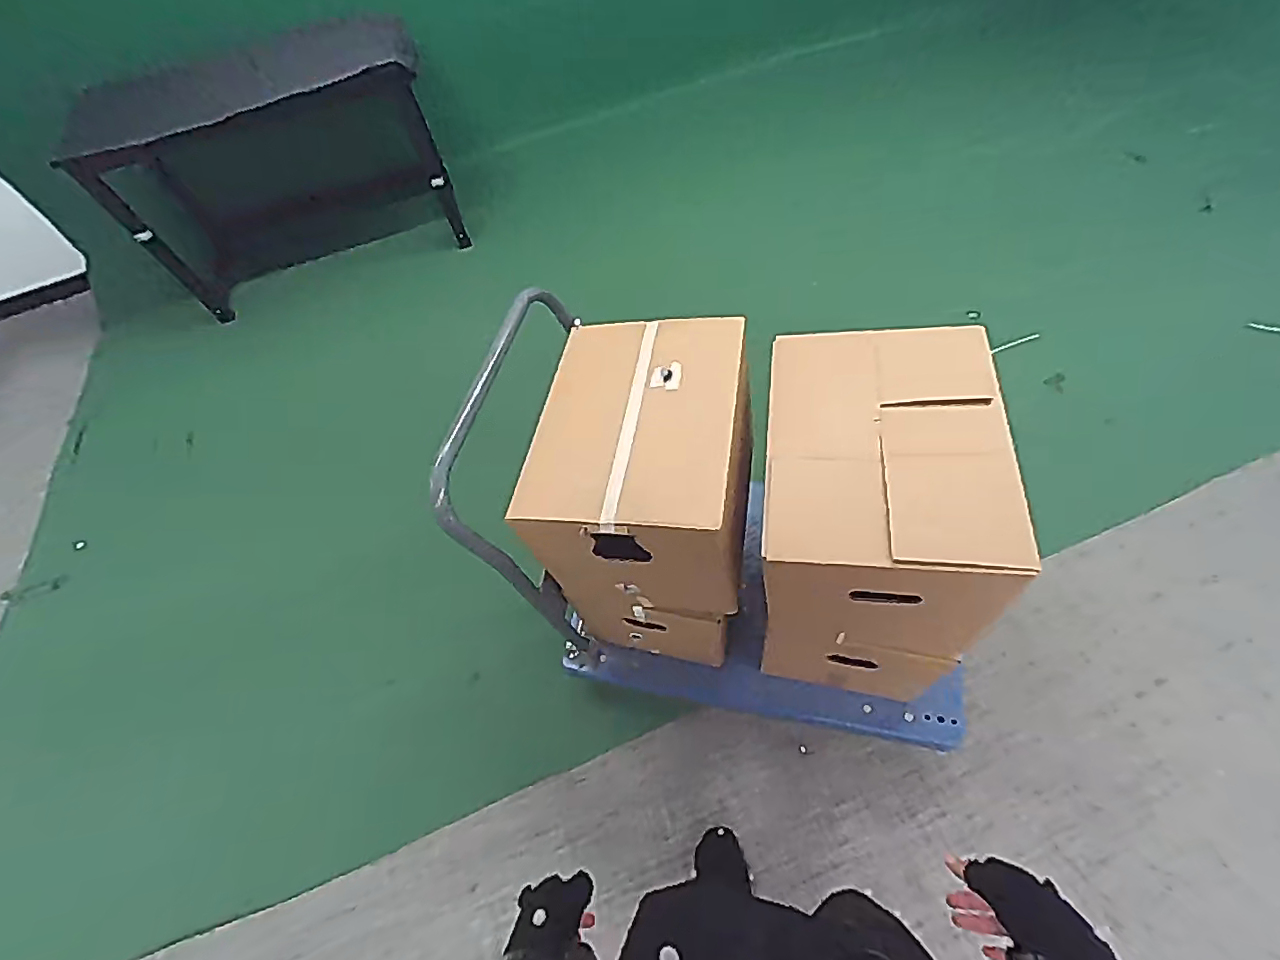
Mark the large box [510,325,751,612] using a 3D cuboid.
[{"bbox_3d":[0.022,-0.015,0.959,0.320,0.320,0.408,2,56,16],"label":"large box"}]
